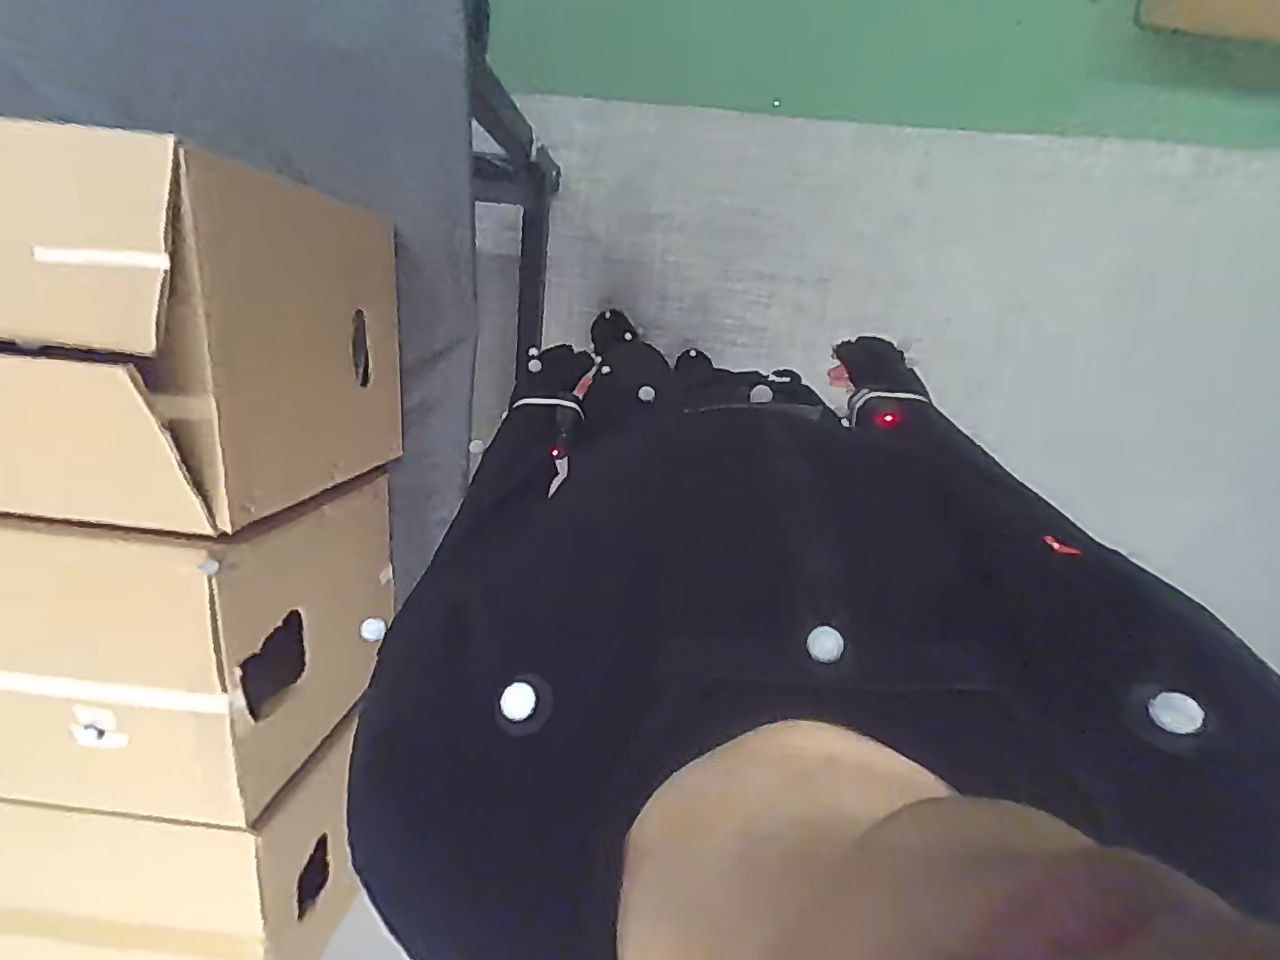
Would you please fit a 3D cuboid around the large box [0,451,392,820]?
[{"bbox_3d":[-0.575,0.151,0.663,0.408,0.320,0.320,5,105,1],"label":"large box"}]
